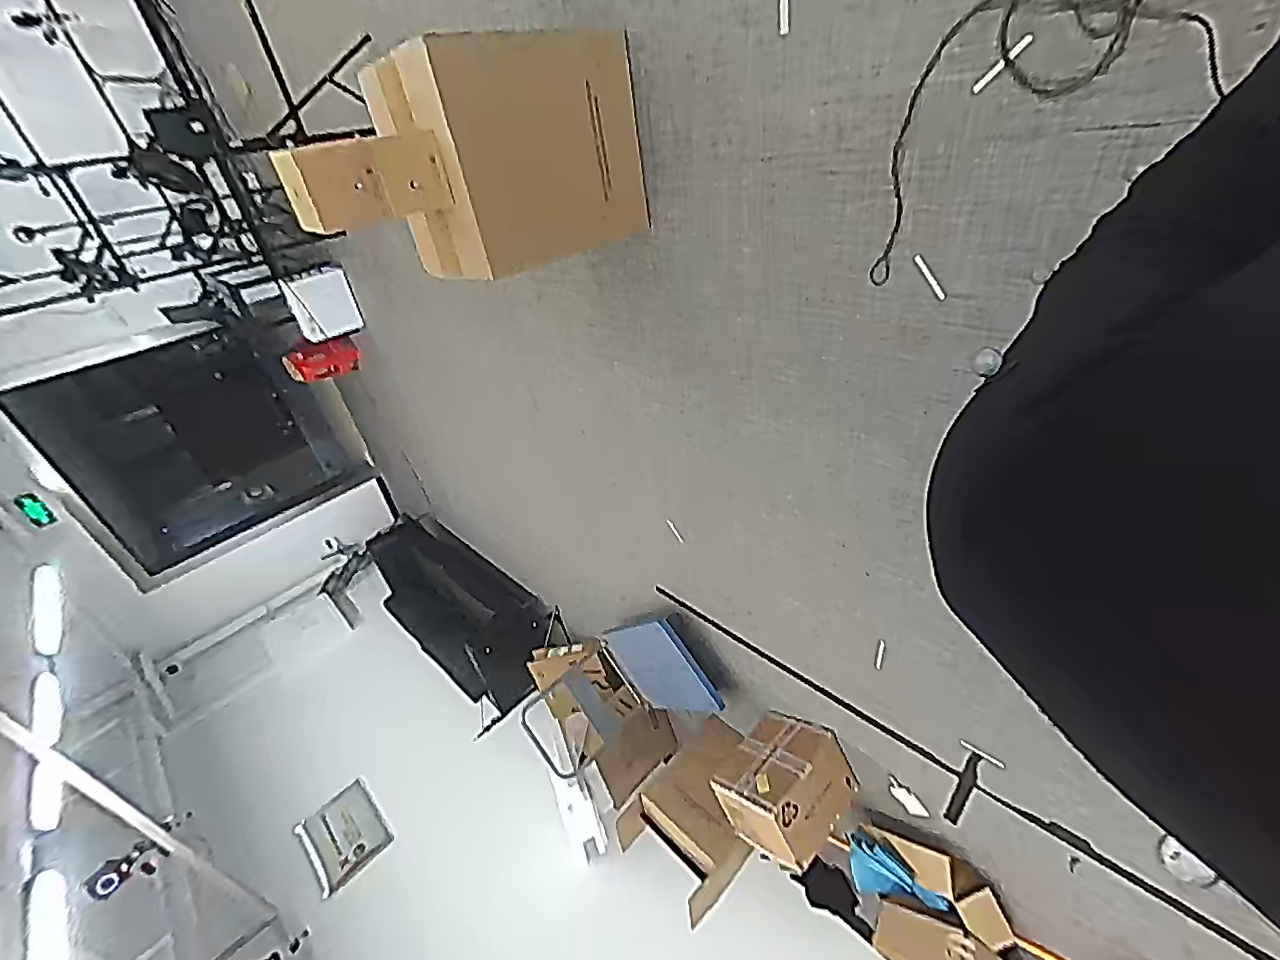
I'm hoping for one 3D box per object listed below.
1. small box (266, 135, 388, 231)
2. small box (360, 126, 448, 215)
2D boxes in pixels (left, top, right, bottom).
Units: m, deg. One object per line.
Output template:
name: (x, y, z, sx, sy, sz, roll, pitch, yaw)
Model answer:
small box: (-0.724, -0.696, 1.262, 0.179, 0.176, 0.168, 27, 139, 38)
small box: (-0.603, -0.771, 1.346, 0.179, 0.176, 0.168, 25, 137, 40)
